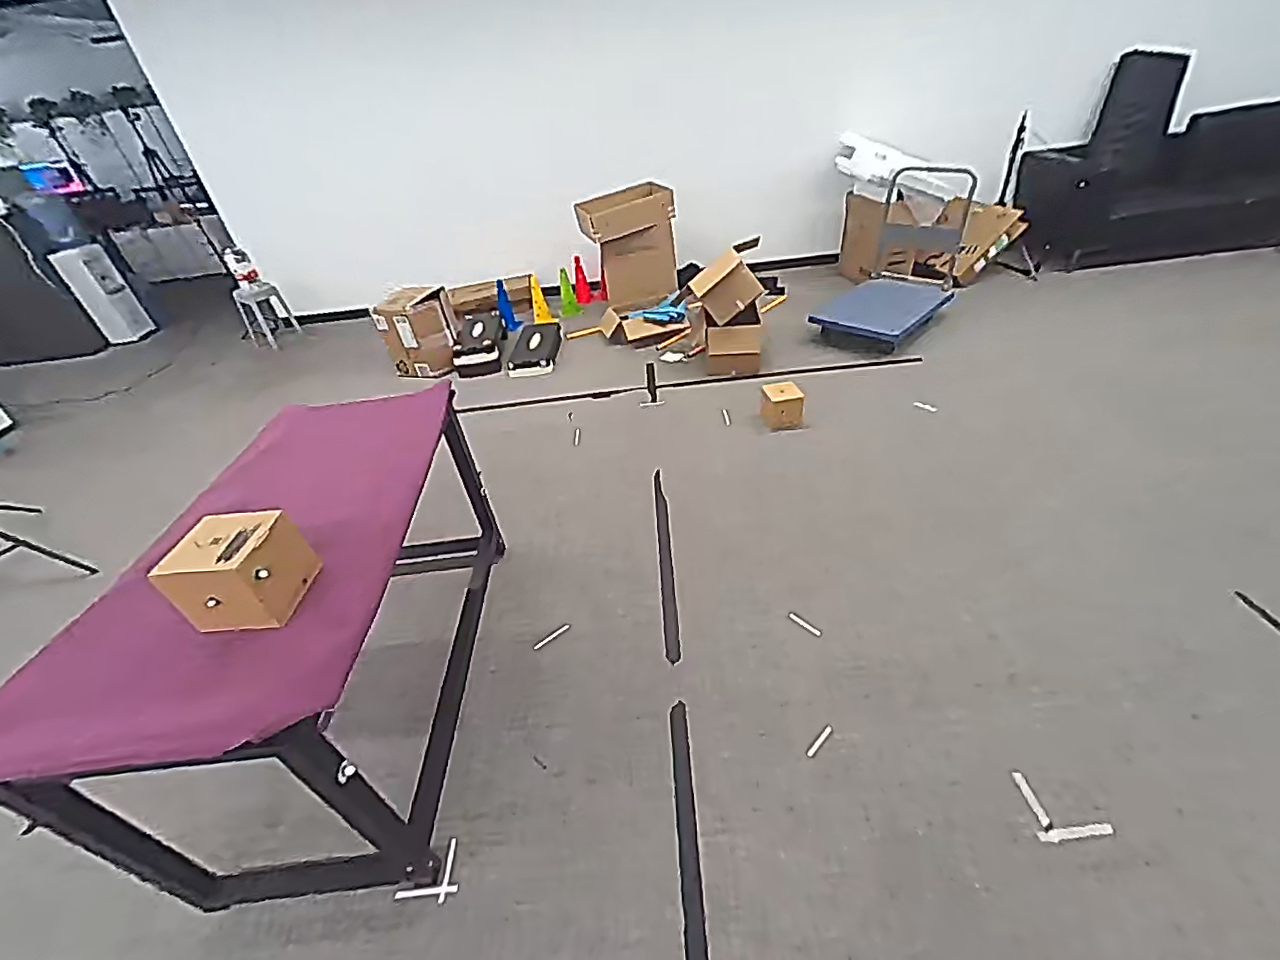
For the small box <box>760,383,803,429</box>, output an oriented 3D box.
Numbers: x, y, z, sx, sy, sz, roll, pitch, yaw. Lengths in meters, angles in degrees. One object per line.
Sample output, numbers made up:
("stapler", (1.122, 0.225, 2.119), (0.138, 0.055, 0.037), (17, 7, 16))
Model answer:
("small box", (0.725, -0.372, 2.778), (0.168, 0.176, 0.179), (-10, 37, -4))
